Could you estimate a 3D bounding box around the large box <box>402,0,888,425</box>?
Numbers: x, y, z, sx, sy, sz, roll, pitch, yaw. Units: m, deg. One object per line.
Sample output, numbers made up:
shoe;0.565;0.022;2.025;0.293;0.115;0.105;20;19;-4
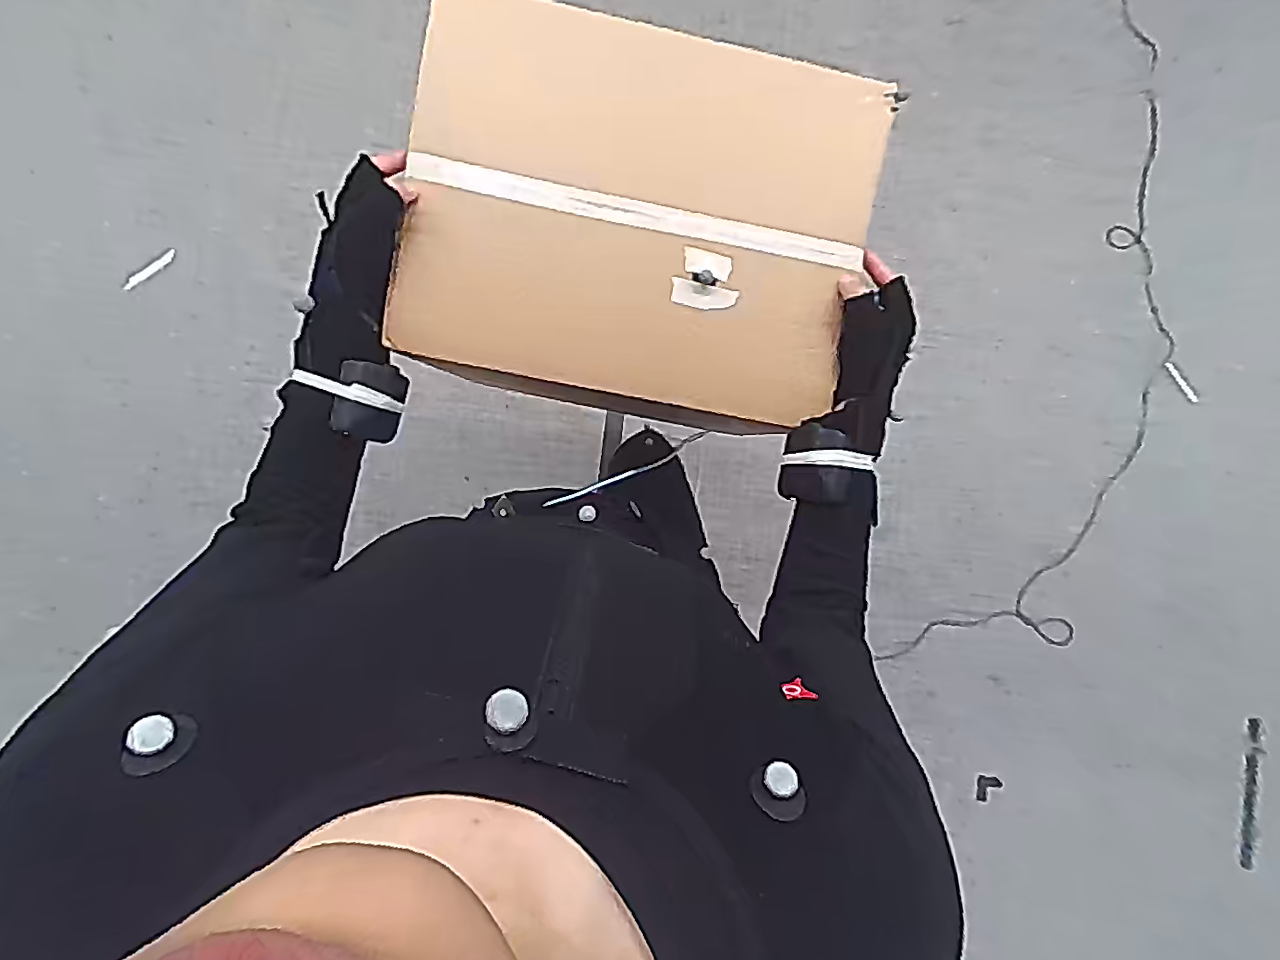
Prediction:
large box;-0.005;-0.252;0.635;0.408;0.320;0.320;11;95;-5
